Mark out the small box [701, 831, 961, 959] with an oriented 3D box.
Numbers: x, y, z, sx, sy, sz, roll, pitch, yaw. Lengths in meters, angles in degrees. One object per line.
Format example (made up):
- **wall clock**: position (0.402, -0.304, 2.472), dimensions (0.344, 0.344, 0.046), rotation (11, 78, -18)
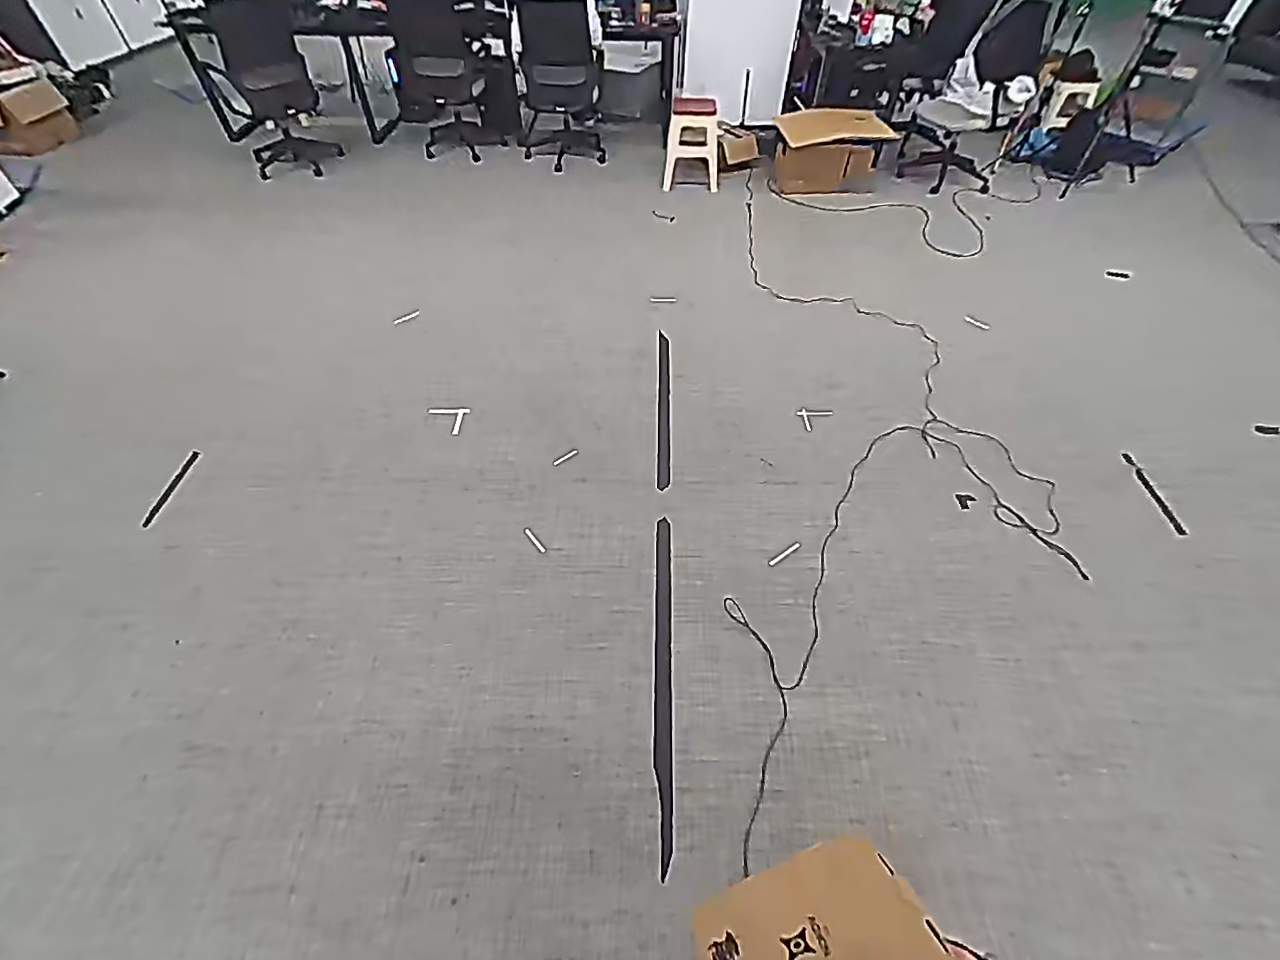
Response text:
- **small box**: position (0.170, 0.440, 0.430), dimensions (0.179, 0.168, 0.176), rotation (-23, 90, -3)
